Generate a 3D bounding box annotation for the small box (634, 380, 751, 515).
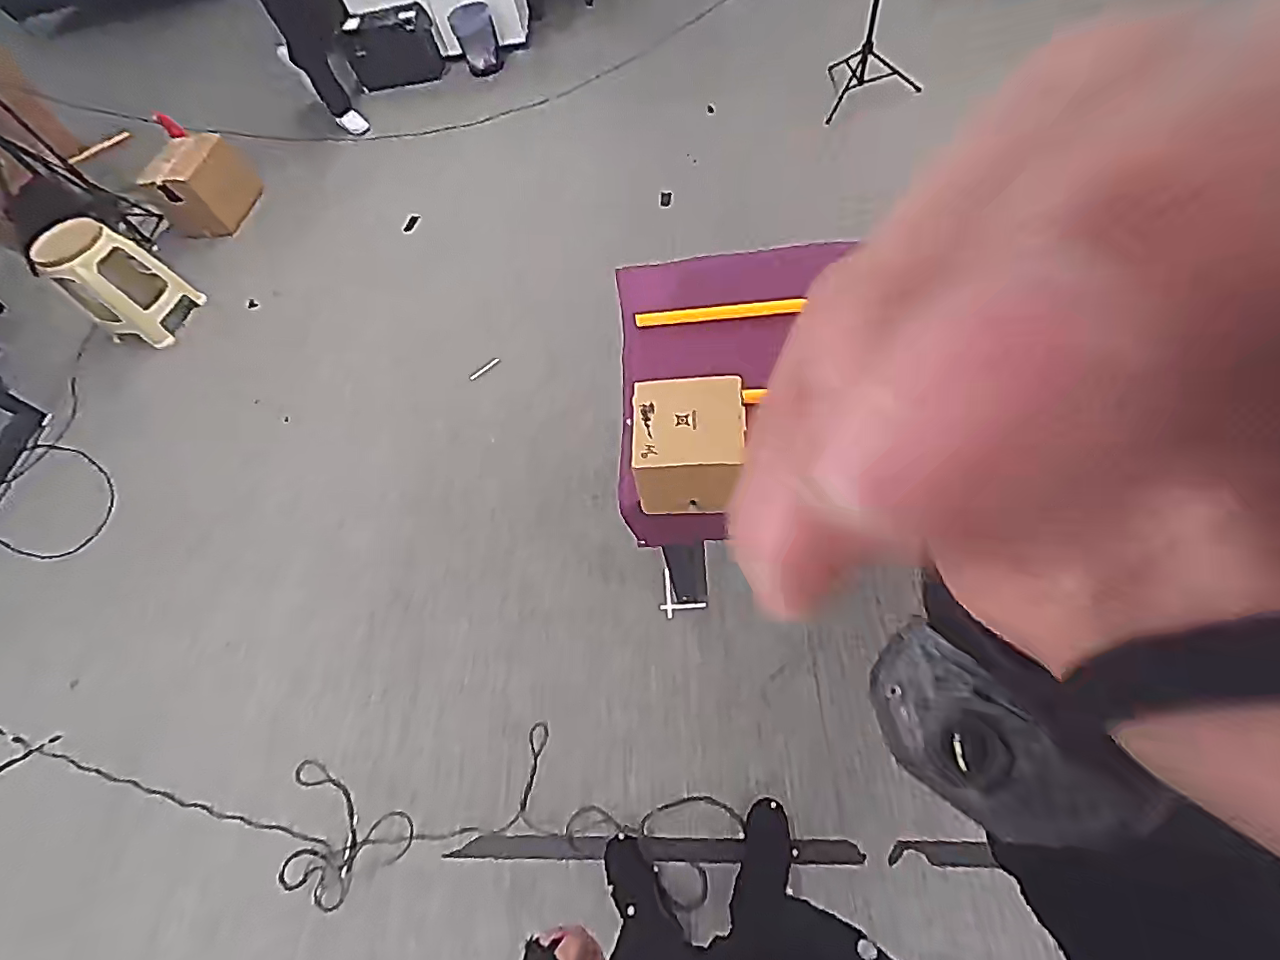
[{"bbox_3d":[0.087,-0.049,0.906,0.179,0.176,0.168,-2,61,7],"label":"small box"}]
